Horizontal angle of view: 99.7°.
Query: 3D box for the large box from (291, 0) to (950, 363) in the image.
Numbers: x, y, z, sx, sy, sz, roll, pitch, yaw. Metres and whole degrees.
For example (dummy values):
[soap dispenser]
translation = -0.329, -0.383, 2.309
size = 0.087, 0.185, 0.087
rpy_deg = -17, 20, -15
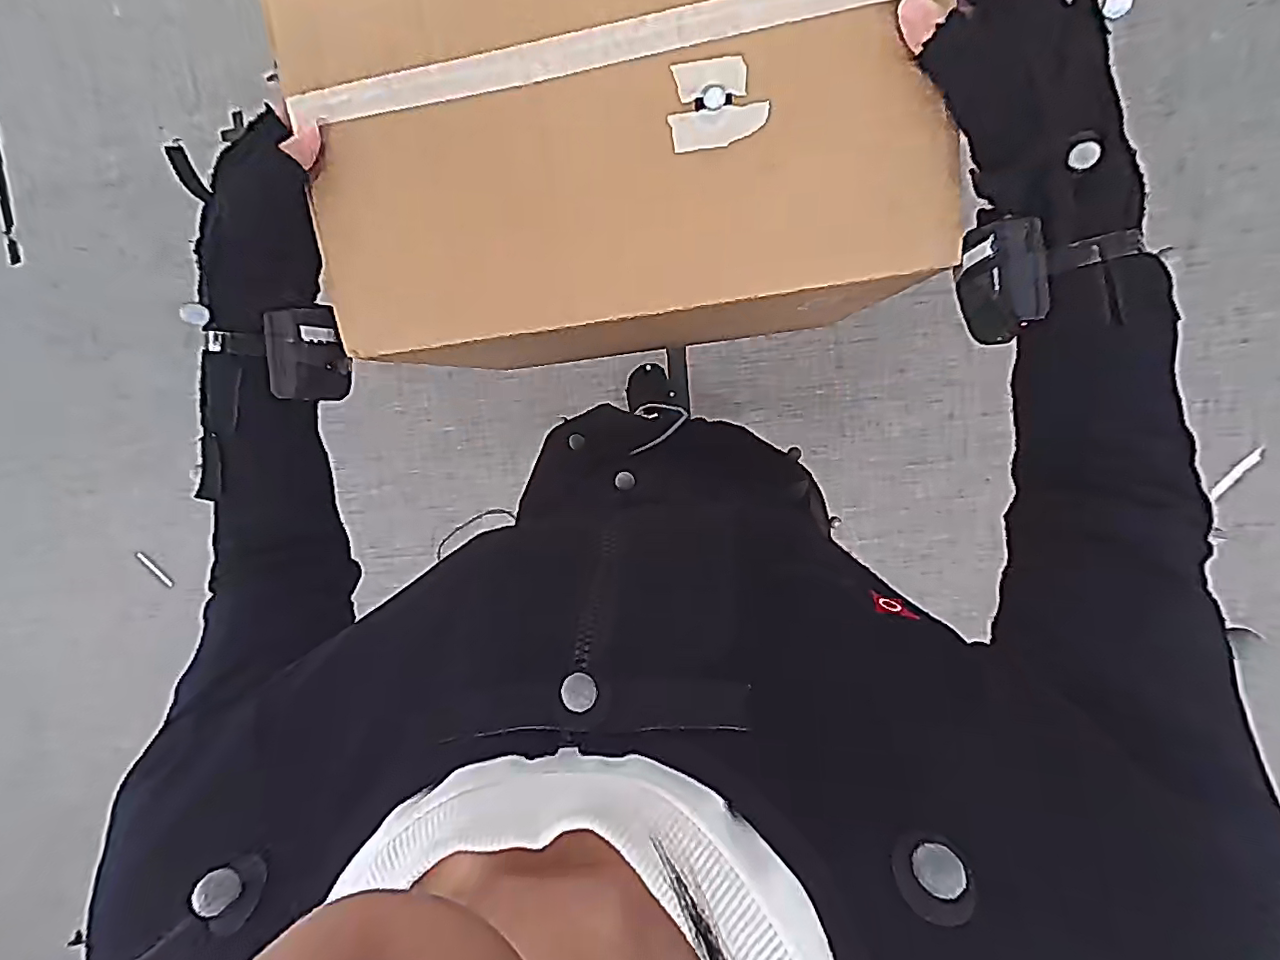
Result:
[large box]
translation = -0.010, -0.295, 0.484
size = 0.408, 0.320, 0.320
rpy_deg = -7, 100, 7
